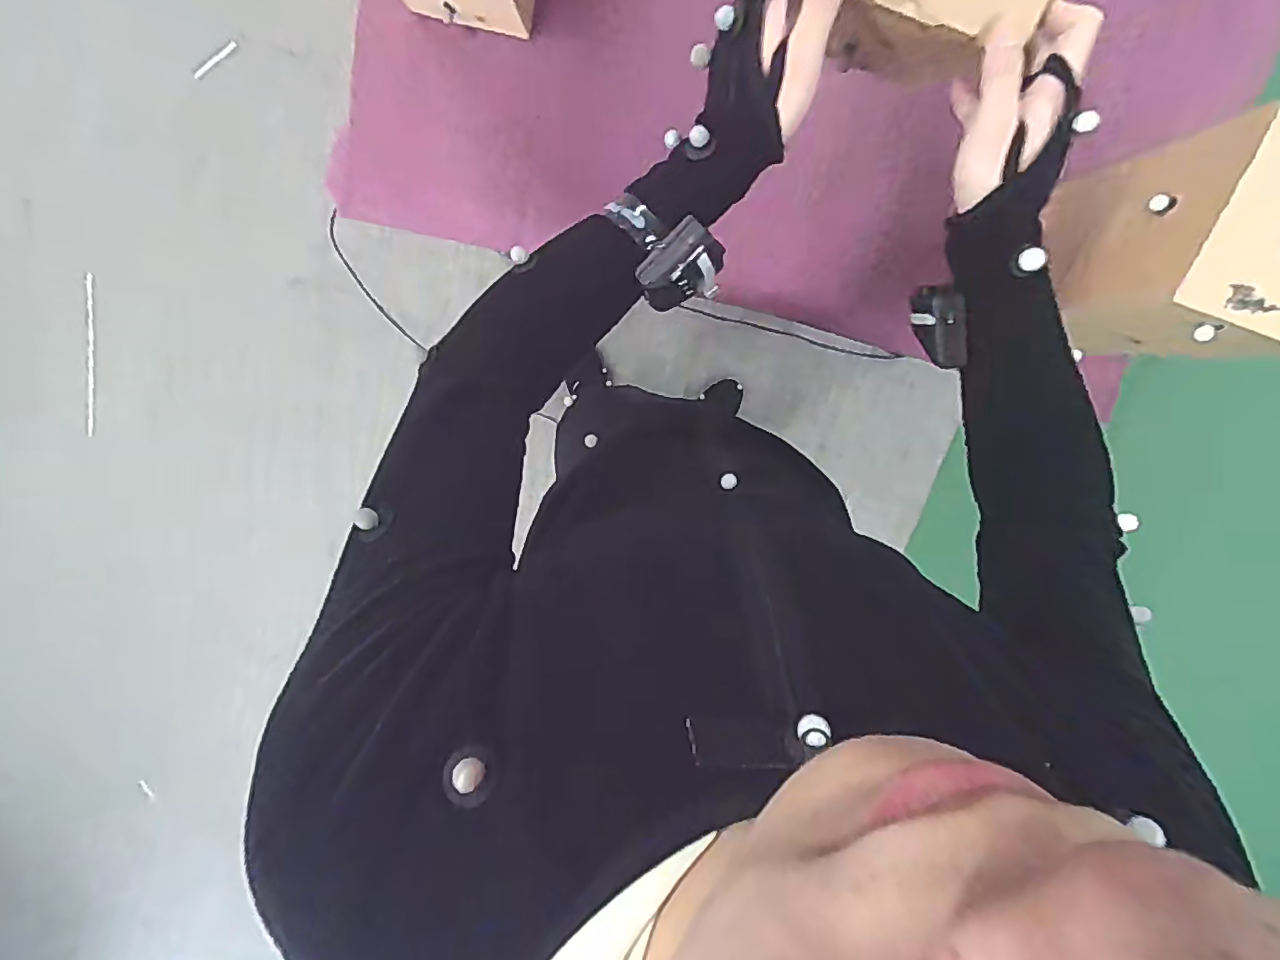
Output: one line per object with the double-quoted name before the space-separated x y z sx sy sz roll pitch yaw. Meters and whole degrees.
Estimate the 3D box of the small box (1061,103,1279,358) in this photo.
"small box" 0.595 -0.236 0.558 0.168 0.176 0.179 19 103 -2

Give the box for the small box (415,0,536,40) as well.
"small box" -0.214 -0.682 0.644 0.168 0.176 0.179 12 105 -1

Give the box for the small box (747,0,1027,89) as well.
"small box" 0.189 -0.415 0.383 0.168 0.176 0.179 16 118 -8
